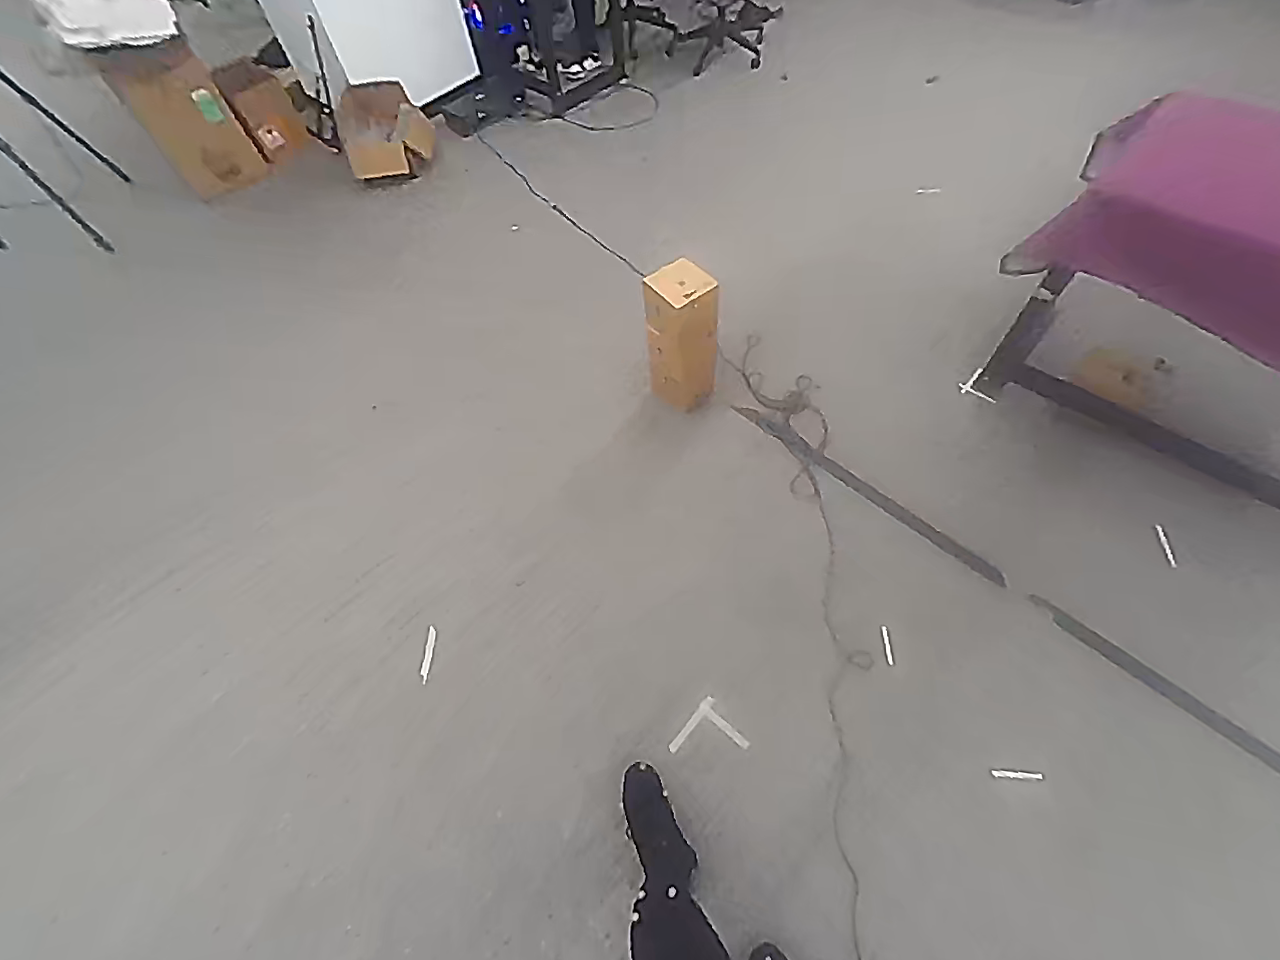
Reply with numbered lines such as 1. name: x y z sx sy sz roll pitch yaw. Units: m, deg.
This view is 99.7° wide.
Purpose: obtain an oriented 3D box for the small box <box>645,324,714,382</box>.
1. small box: 0.140 -0.467 1.835 0.179 0.176 0.168 -41 63 -18

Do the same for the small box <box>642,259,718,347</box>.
1. small box: 0.125 -0.550 1.694 0.168 0.176 0.179 -34 61 -14

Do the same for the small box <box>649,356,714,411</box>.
1. small box: 0.152 -0.383 1.973 0.179 0.176 0.168 39 70 24
